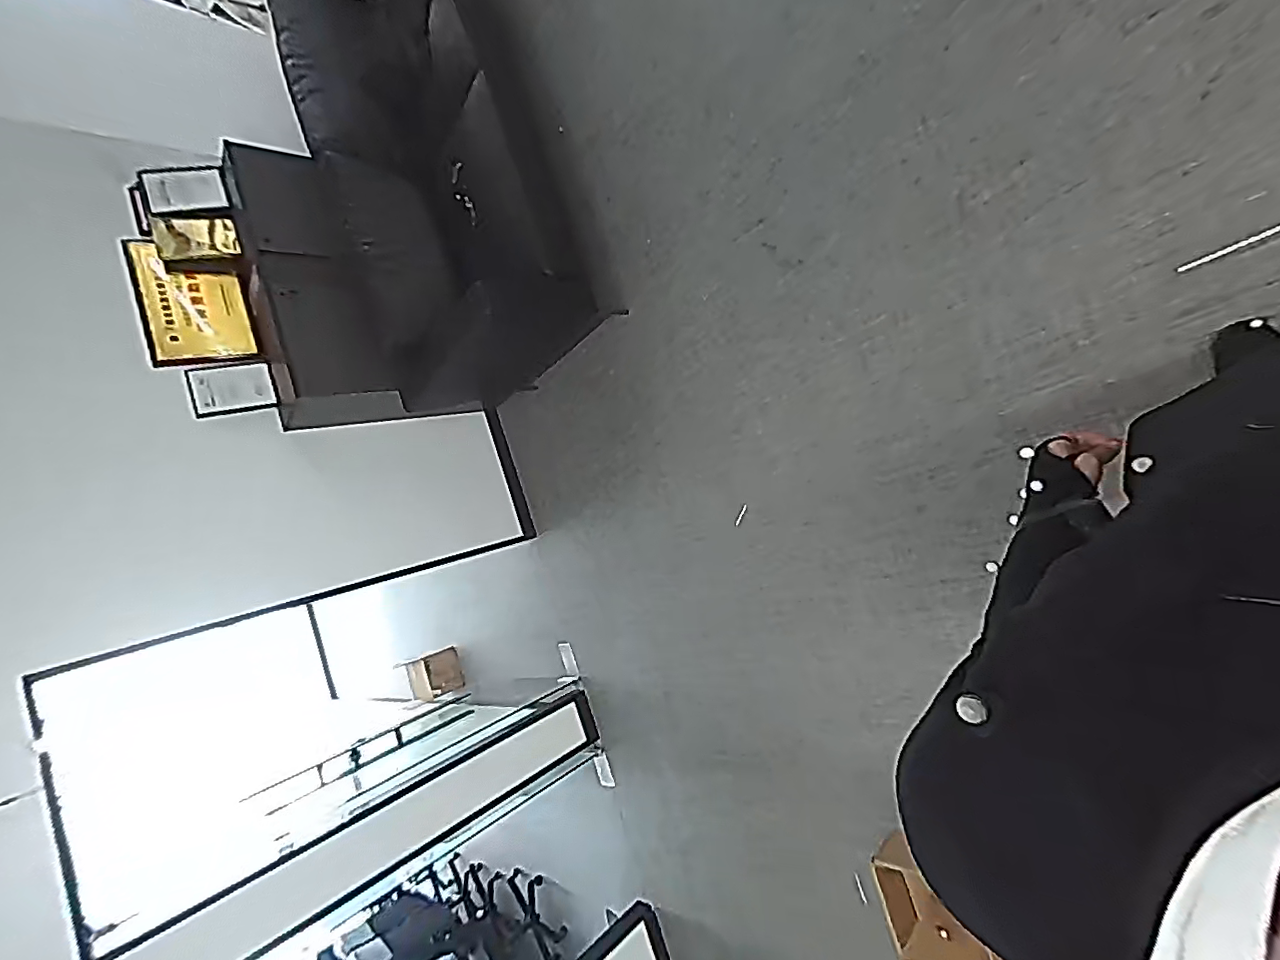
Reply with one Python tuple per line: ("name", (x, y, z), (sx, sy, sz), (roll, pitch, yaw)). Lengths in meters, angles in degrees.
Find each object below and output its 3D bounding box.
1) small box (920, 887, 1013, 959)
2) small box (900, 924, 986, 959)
("small box", (0.943, 1.321, 1.551), (0.179, 0.176, 0.168), (-19, 86, 47))
("small box", (0.826, 1.349, 1.439), (0.168, 0.176, 0.179), (-25, 80, 46))
